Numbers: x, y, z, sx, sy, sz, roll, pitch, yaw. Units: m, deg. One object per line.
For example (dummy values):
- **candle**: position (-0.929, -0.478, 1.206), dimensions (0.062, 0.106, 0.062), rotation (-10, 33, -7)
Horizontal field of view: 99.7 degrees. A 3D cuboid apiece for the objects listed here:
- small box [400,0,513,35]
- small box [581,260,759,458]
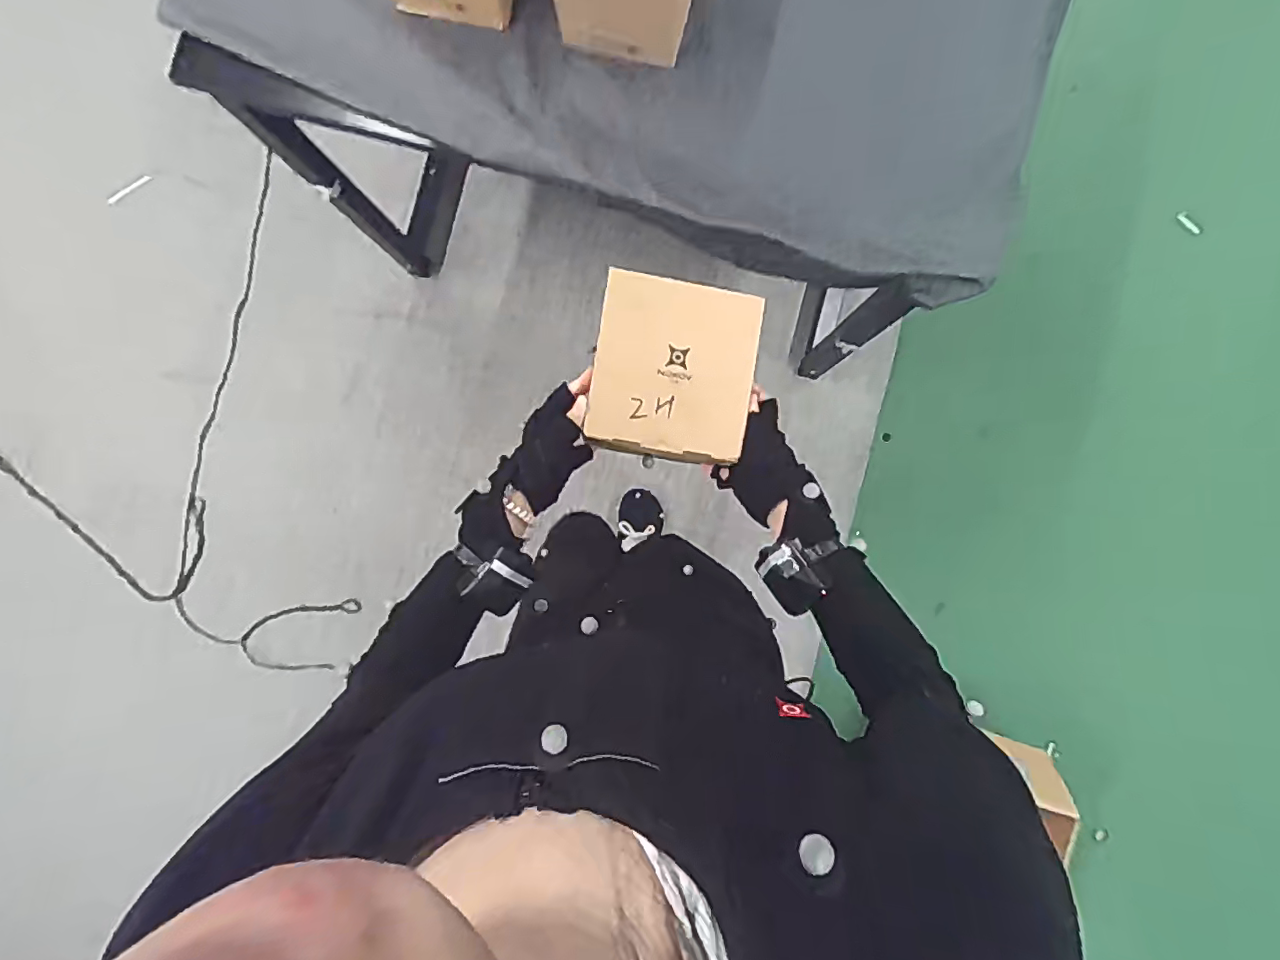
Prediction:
- **small box**: position (-0.258, -0.754, 0.715), dimensions (0.168, 0.176, 0.179), rotation (12, 89, 1)
- **small box**: position (0.025, -0.127, 0.639), dimensions (0.168, 0.176, 0.179), rotation (10, 89, -5)
